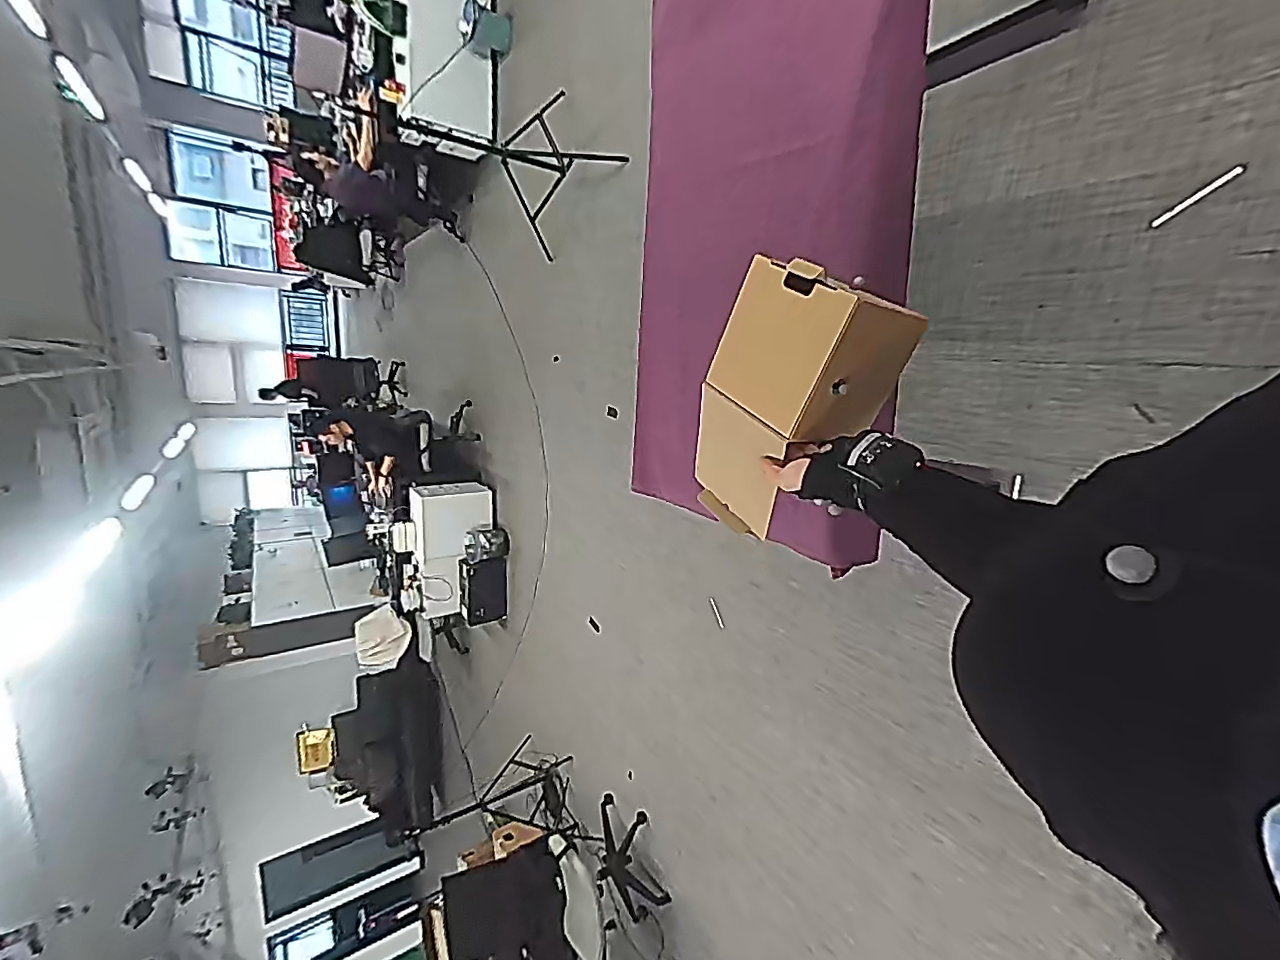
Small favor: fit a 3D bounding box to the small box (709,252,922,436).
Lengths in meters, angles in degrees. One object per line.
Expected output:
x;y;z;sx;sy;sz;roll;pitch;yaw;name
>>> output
0.226;-0.170;0.704;0.168;0.176;0.179;46;126;40;small box
